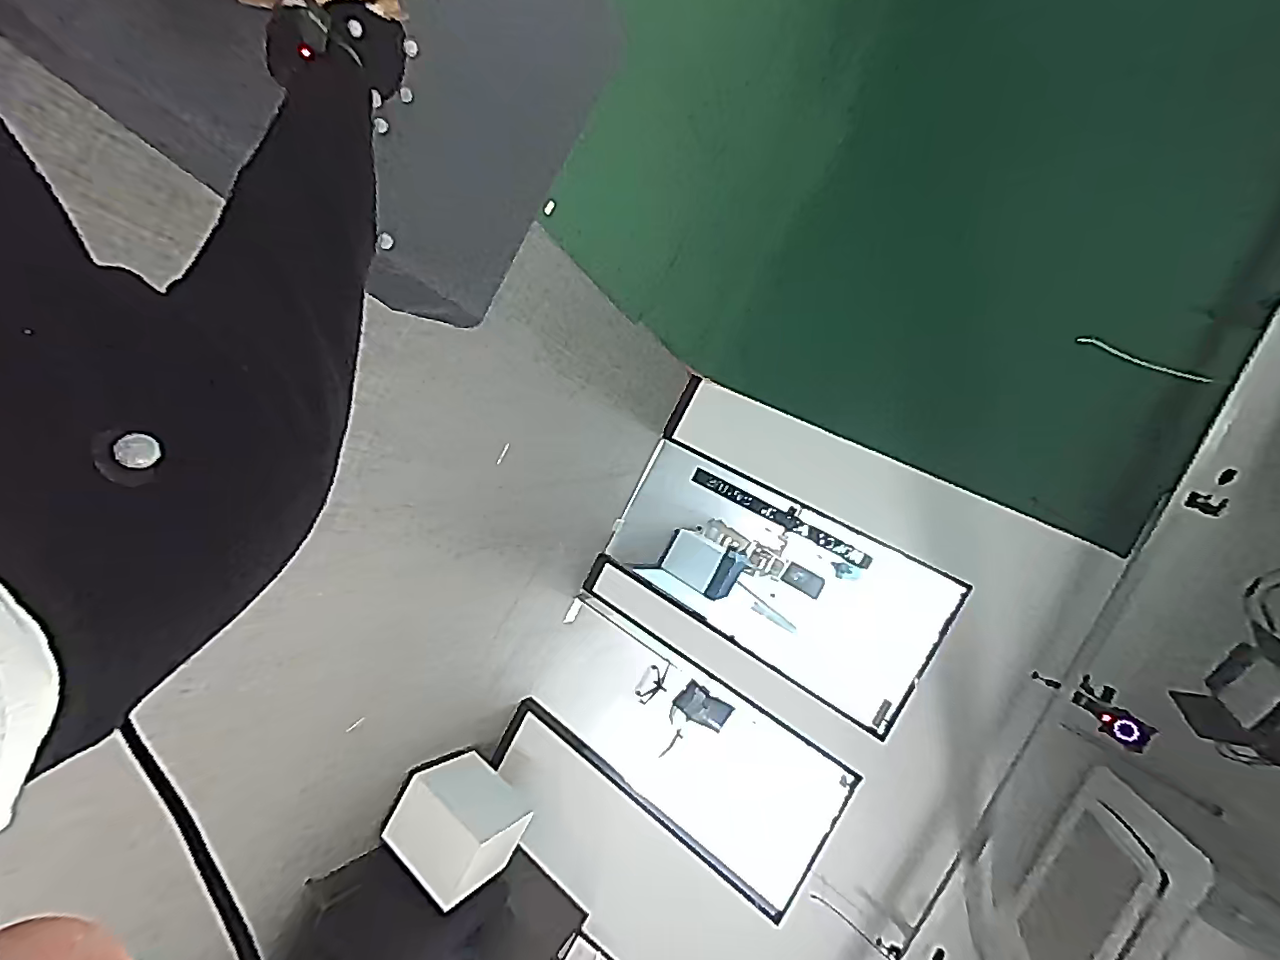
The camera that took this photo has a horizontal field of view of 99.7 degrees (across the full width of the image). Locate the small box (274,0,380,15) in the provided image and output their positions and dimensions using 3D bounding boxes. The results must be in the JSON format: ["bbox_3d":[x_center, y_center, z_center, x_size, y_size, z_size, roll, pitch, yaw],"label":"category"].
[{"bbox_3d":[-0.342,-0.607,0.544,0.168,0.176,0.179,-45,152,-28],"label":"small box"}]
